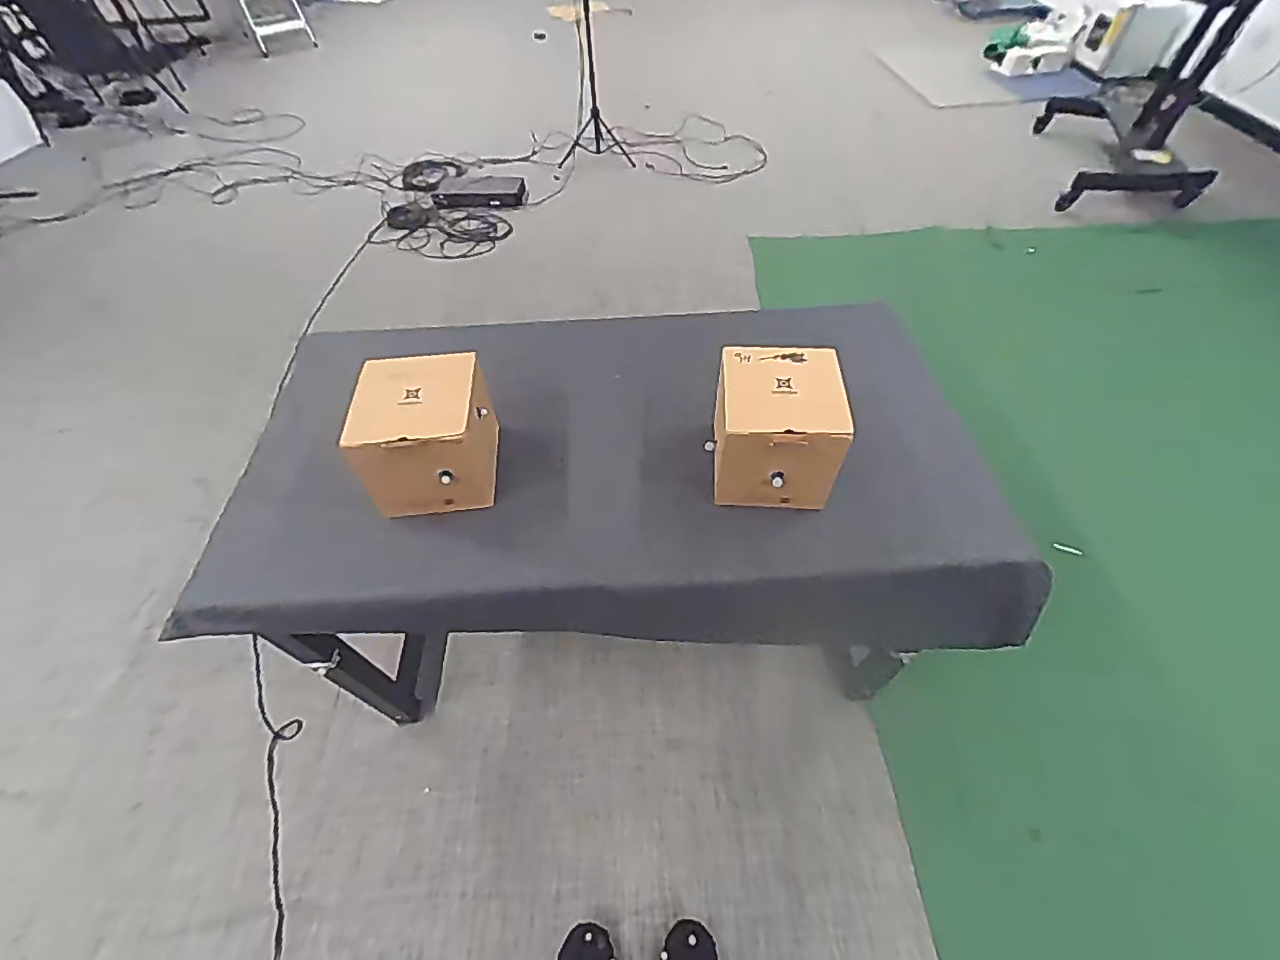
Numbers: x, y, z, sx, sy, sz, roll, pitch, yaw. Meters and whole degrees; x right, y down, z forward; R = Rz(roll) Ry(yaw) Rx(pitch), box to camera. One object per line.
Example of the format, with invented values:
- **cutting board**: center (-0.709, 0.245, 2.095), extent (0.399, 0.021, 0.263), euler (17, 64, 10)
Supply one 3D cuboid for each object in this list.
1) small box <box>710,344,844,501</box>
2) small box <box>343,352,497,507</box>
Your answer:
- **small box**: center (0.194, -0.083, 0.817), extent (0.168, 0.176, 0.179), euler (2, 54, 4)
- **small box**: center (-0.322, -0.070, 0.834), extent (0.168, 0.176, 0.179), euler (-6, 52, -4)
